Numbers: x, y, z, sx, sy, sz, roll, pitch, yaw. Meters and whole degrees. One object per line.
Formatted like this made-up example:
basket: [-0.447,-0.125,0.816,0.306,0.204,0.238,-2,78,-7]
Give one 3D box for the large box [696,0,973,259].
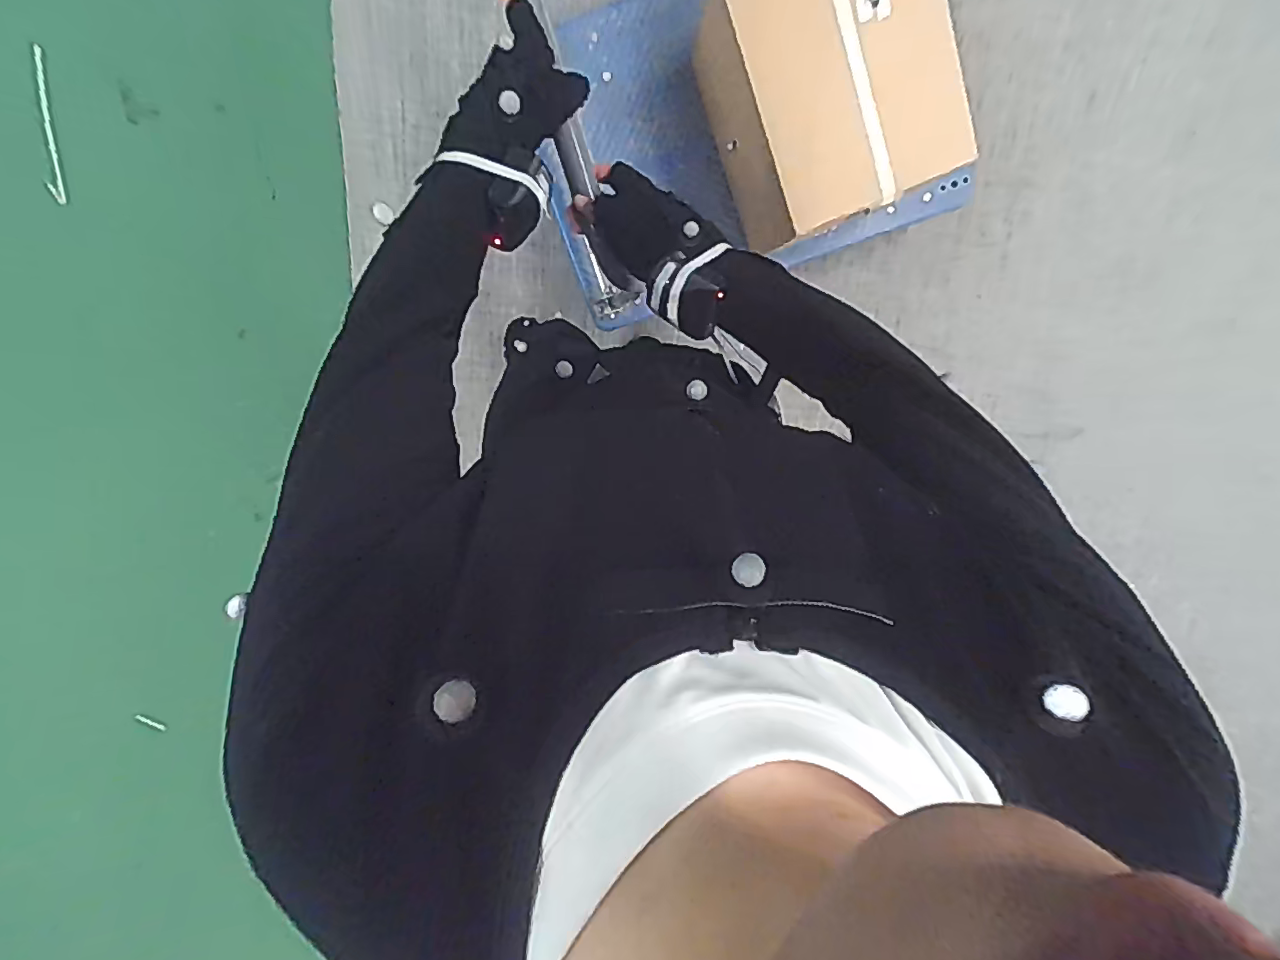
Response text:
large box: [0.326,-0.680,0.991,0.320,0.320,0.408,-22,103,5]
